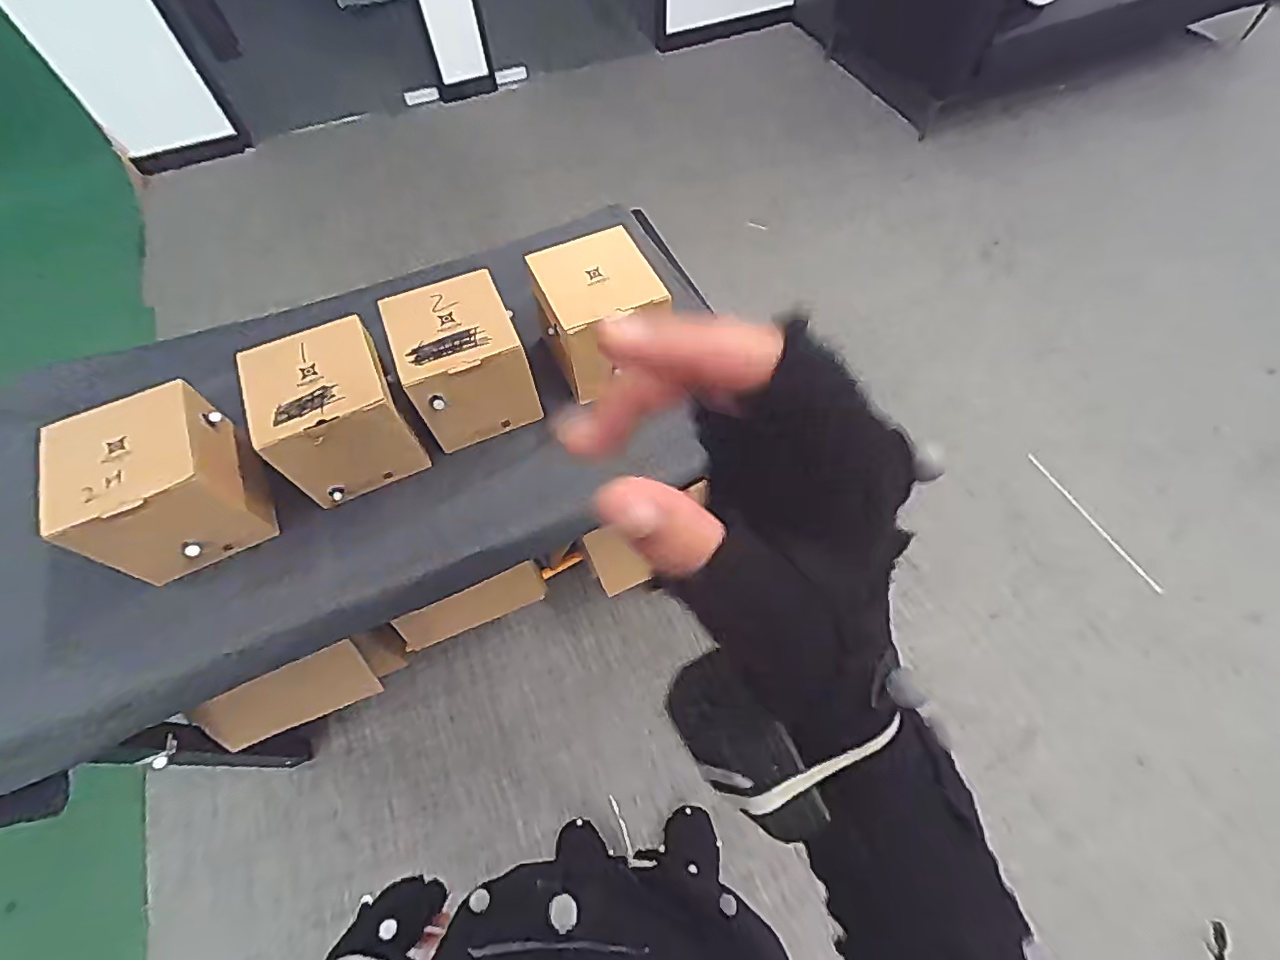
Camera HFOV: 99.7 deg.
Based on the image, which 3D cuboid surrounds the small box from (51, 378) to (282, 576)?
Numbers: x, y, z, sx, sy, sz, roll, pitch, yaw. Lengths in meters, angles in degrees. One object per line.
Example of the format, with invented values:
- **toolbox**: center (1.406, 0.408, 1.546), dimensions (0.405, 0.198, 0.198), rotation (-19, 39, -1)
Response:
- **small box**: center (-0.629, 0.001, 0.734), dimensions (0.168, 0.176, 0.179), rotation (-26, 64, -12)

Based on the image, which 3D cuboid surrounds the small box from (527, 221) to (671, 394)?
- **small box**: center (-0.064, -0.271, 0.867), dimensions (0.168, 0.176, 0.179), rotation (-24, 64, -11)
